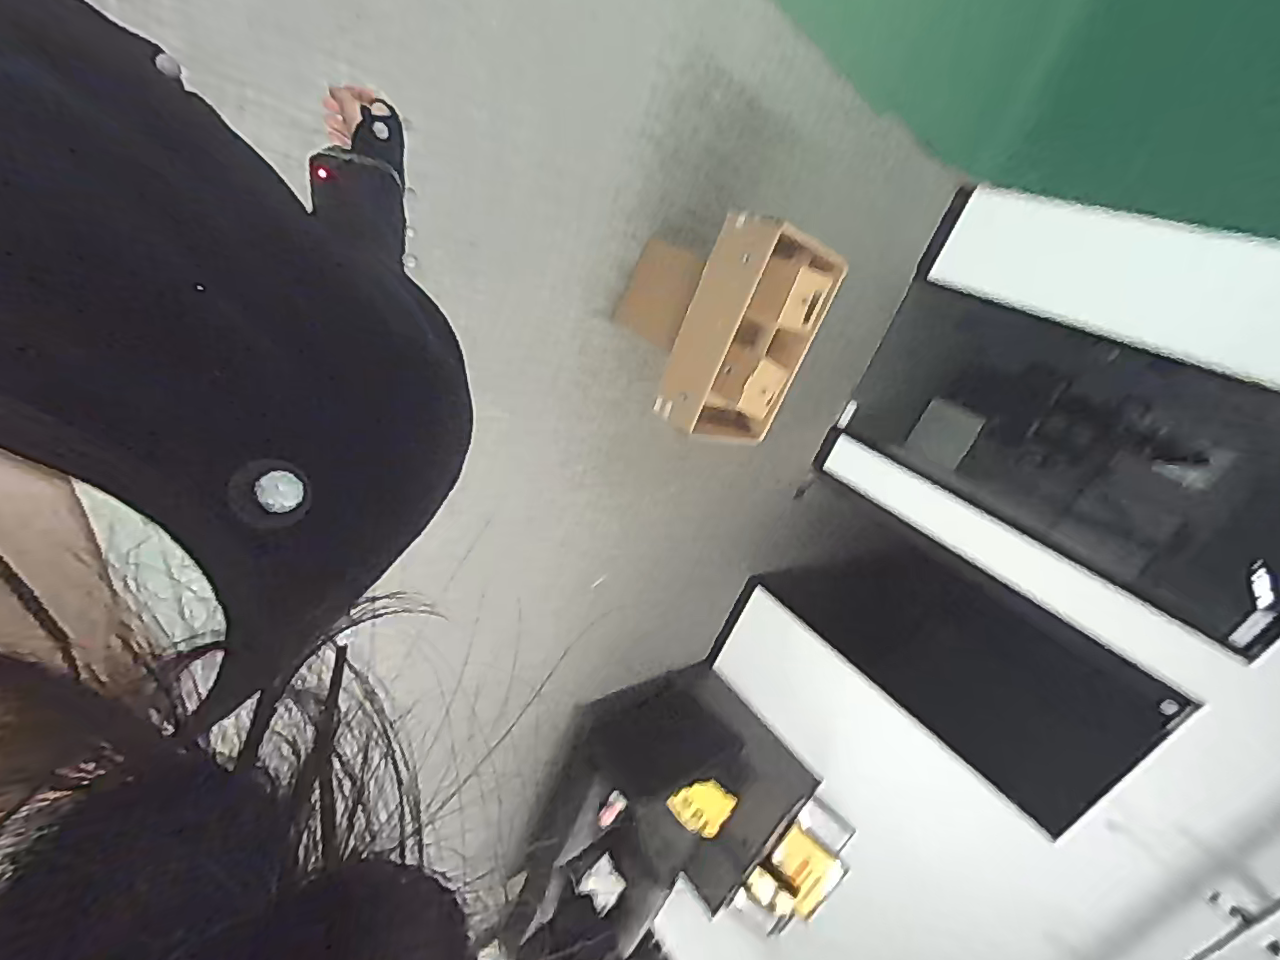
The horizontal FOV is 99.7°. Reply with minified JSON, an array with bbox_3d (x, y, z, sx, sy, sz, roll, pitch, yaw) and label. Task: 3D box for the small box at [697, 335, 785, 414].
[{"bbox_3d":[0.310,-0.331,1.683,0.179,0.176,0.168,13,111,-49],"label":"small box"}]
